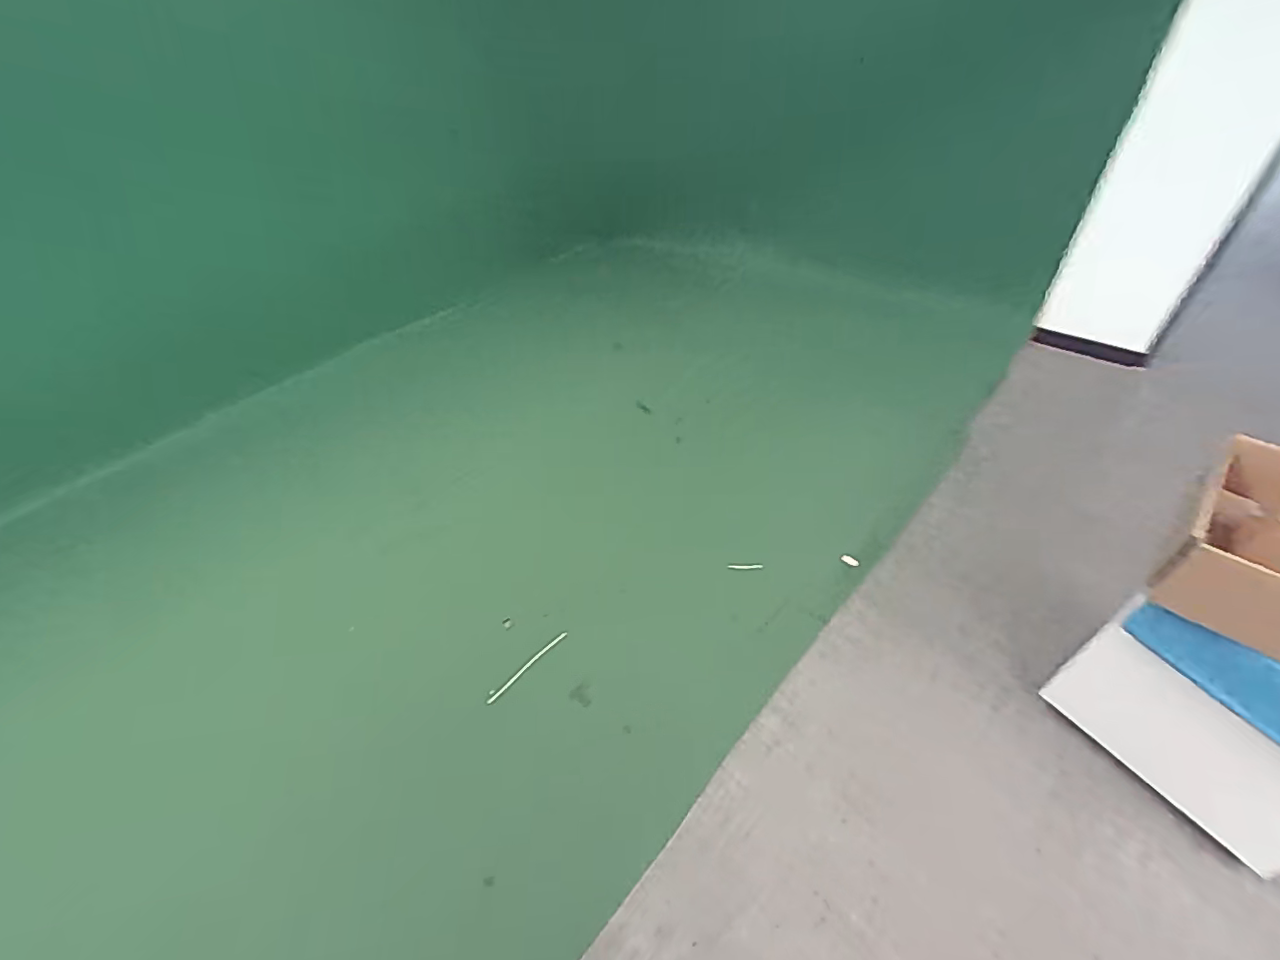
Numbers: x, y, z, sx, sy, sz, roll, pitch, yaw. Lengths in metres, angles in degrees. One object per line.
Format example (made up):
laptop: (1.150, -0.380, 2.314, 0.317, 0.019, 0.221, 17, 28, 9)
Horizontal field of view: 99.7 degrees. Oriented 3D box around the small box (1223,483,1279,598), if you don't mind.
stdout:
small box: (1.251, 0.117, 1.006, 0.168, 0.176, 0.179, 31, 54, 32)
